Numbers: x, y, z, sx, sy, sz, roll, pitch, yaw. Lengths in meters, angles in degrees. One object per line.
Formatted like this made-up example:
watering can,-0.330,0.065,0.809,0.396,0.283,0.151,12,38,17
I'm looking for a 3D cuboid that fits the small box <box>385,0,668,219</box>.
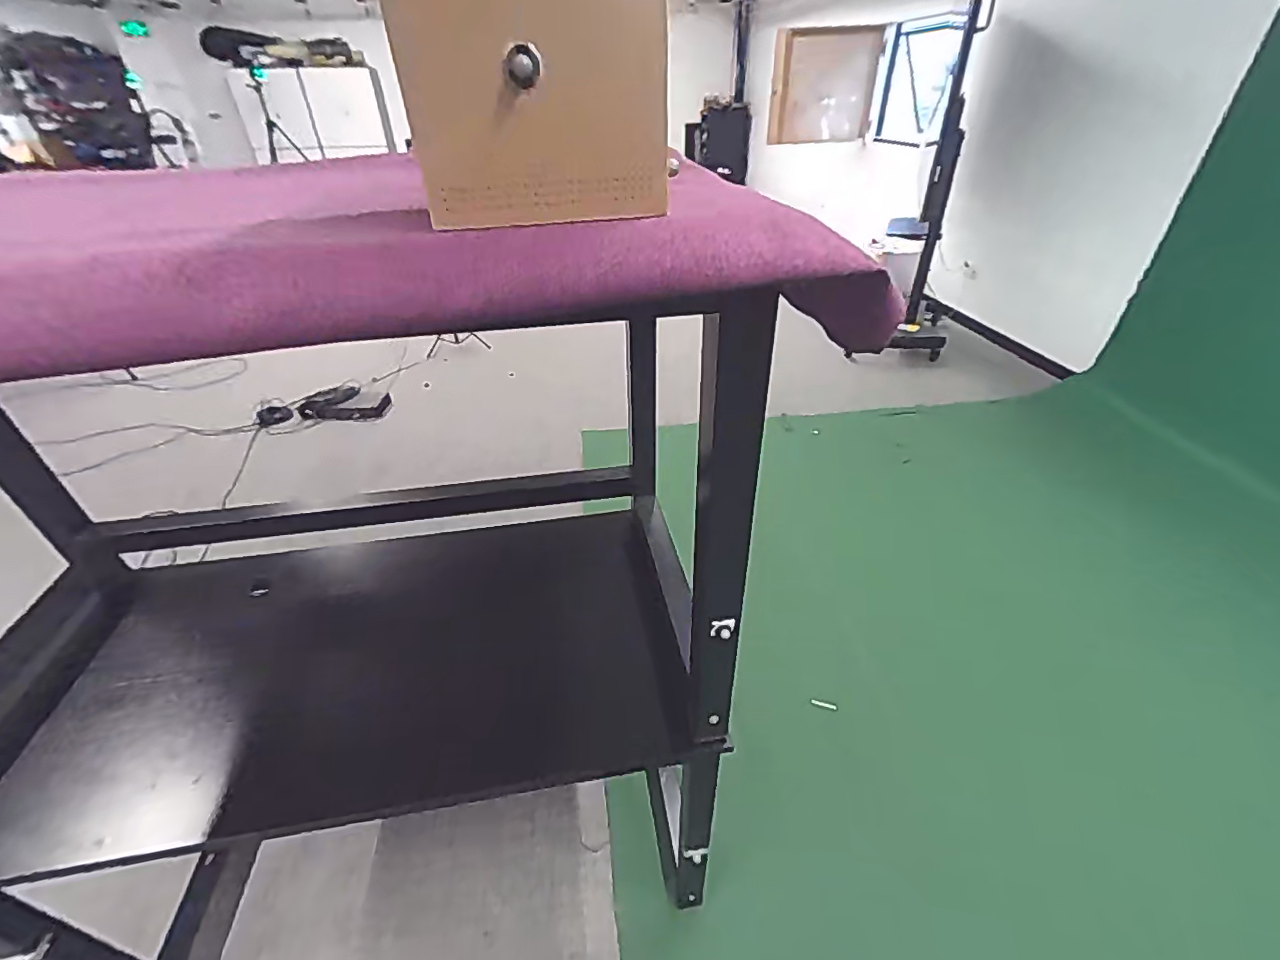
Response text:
small box,-0.075,-0.309,0.414,0.179,0.176,0.168,-7,36,-5
